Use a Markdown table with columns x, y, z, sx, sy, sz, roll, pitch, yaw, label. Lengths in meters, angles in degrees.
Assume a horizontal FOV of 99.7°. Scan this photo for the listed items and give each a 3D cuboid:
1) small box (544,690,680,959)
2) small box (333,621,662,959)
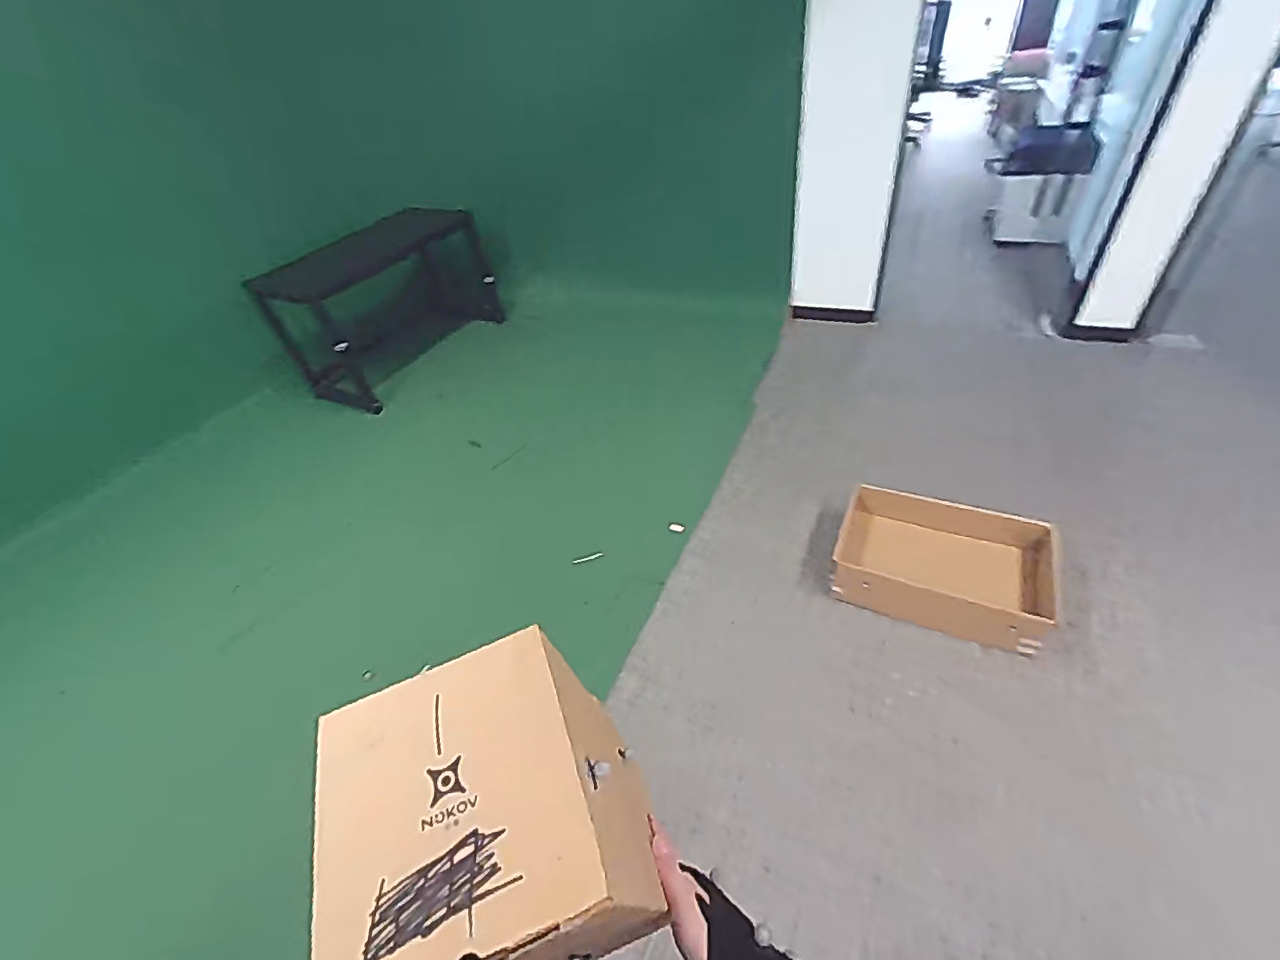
| x | y | z | sx | sy | sz | roll | pitch | yaw | label |
| --- | --- | --- | --- | --- | --- | --- | --- | --- | --- |
| -0.070 | 0.338 | 0.523 | 0.168 | 0.176 | 0.179 | -19 | 51 | -5 | small box |
| -0.093 | 0.239 | 0.394 | 0.168 | 0.176 | 0.179 | -21 | 50 | -6 | small box |
